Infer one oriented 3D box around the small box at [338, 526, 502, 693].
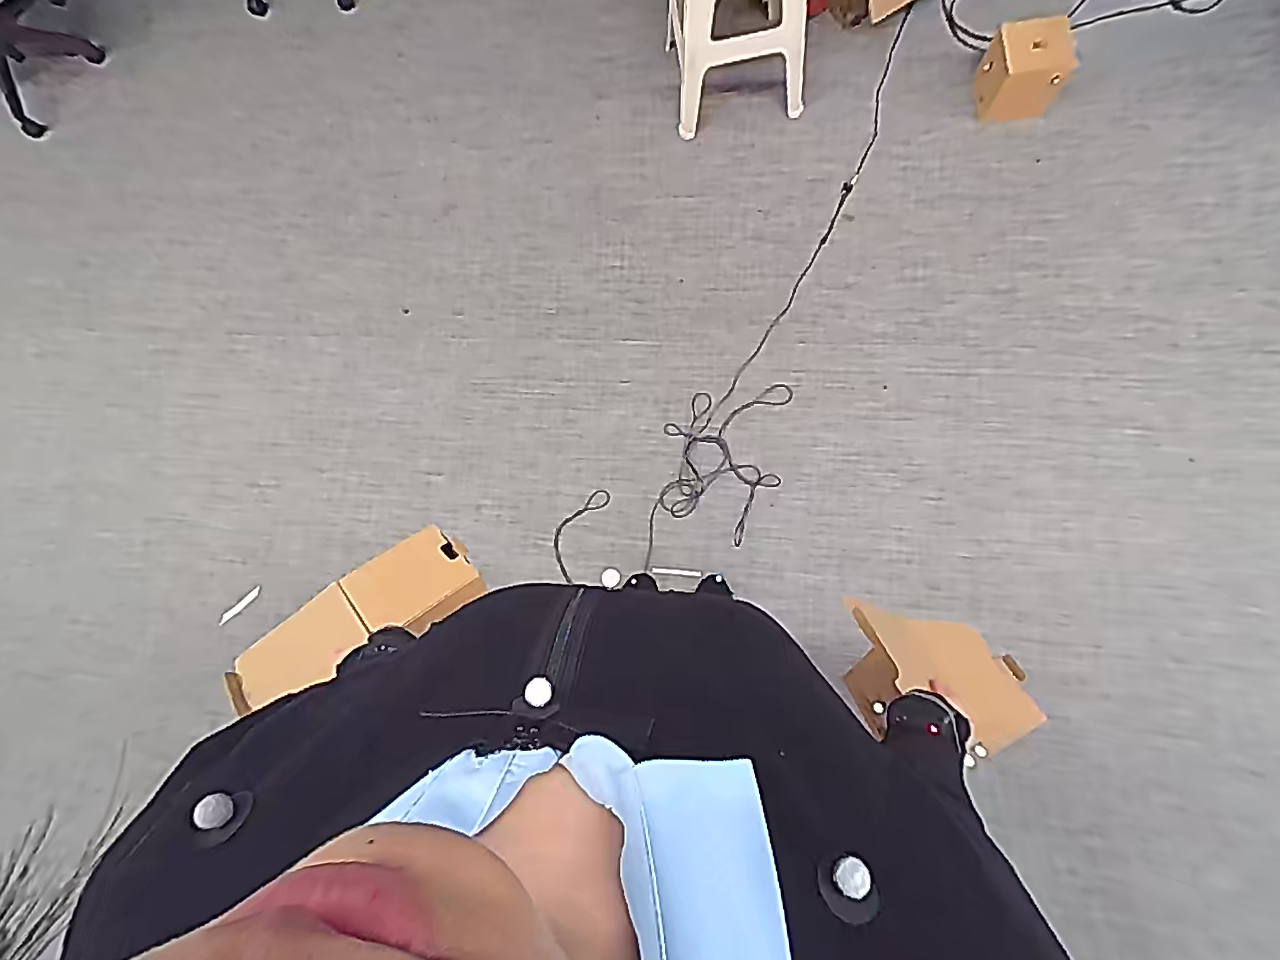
[{"bbox_3d":[-0.361,0.218,0.909,0.179,0.176,0.168,-34,48,-28],"label":"small box"}]
